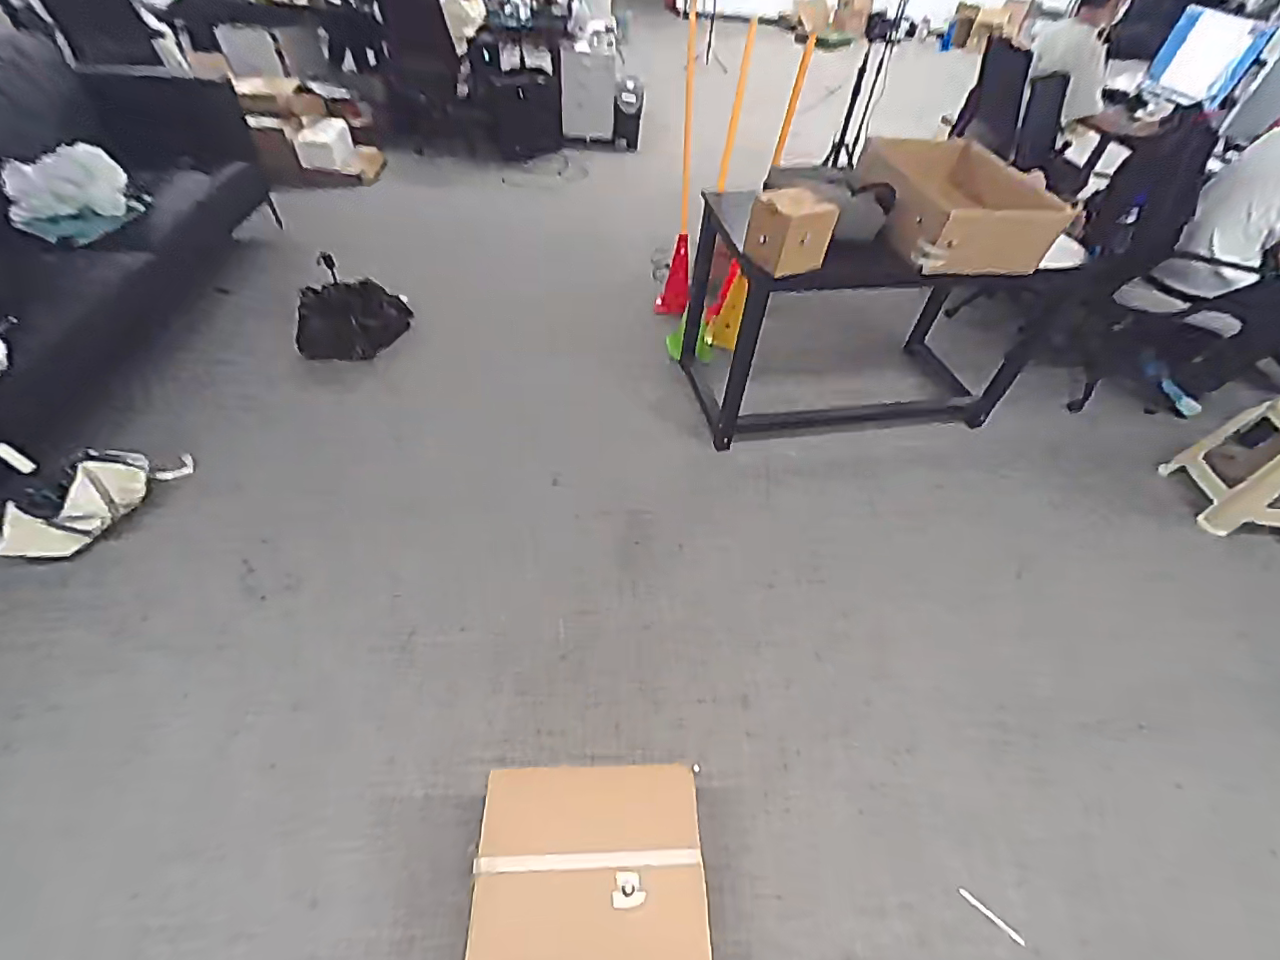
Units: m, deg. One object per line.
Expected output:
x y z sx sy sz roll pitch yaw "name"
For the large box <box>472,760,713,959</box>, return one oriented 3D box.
-0.093 0.780 1.086 0.408 0.320 0.320 1 49 -4 "large box"
